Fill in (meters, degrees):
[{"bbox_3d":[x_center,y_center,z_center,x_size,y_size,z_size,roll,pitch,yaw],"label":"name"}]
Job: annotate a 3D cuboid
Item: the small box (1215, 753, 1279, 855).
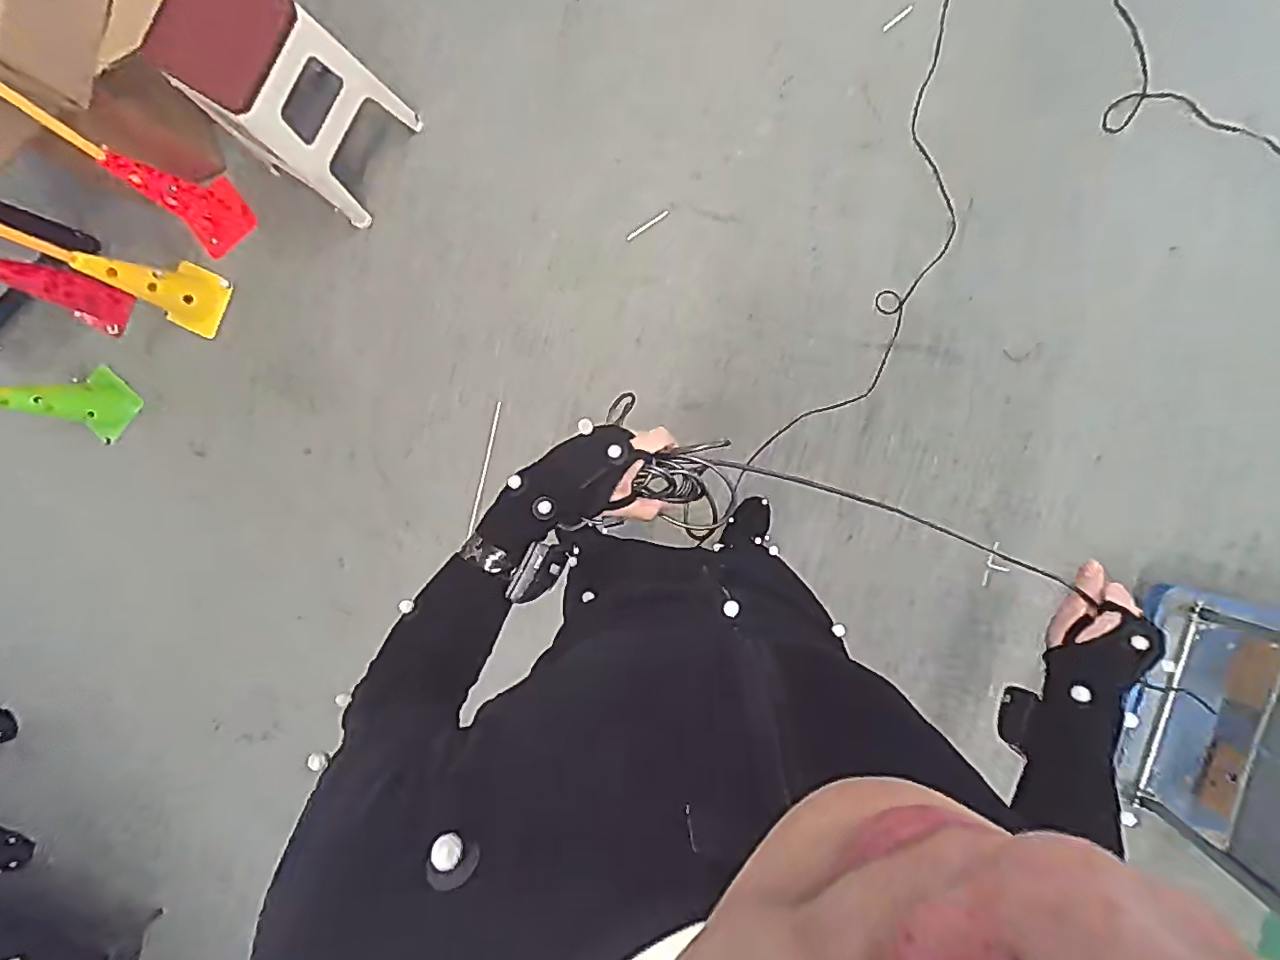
[{"bbox_3d":[1.502,0.759,1.233,0.179,0.176,0.168,15,93,7],"label":"small box"}]
